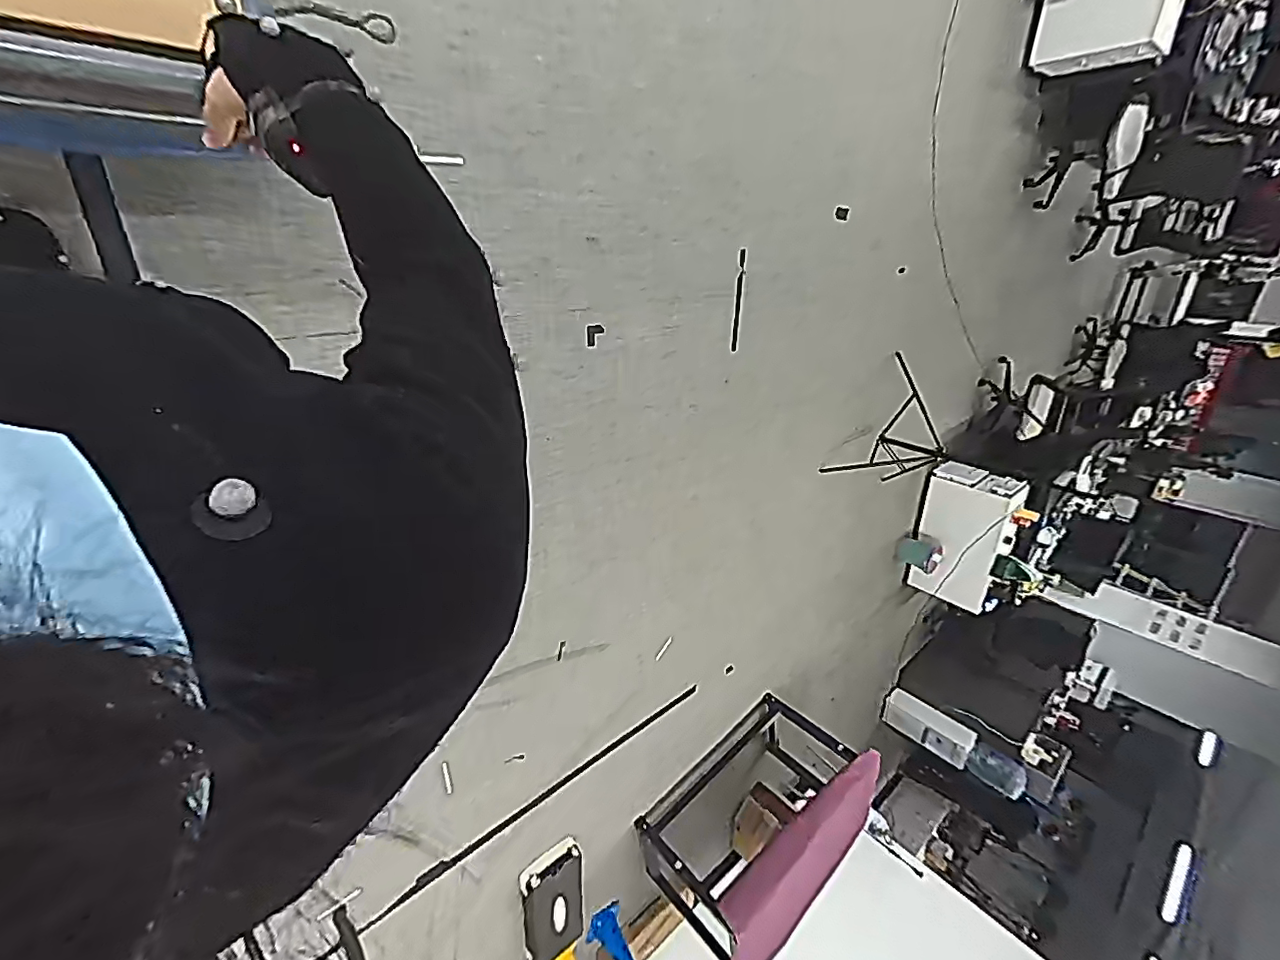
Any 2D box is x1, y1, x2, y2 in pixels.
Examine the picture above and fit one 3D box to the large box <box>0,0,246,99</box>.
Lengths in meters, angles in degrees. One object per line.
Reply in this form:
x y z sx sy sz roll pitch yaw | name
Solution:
-0.773 -0.692 0.643 0.408 0.320 0.320 -19 121 -38 | large box
